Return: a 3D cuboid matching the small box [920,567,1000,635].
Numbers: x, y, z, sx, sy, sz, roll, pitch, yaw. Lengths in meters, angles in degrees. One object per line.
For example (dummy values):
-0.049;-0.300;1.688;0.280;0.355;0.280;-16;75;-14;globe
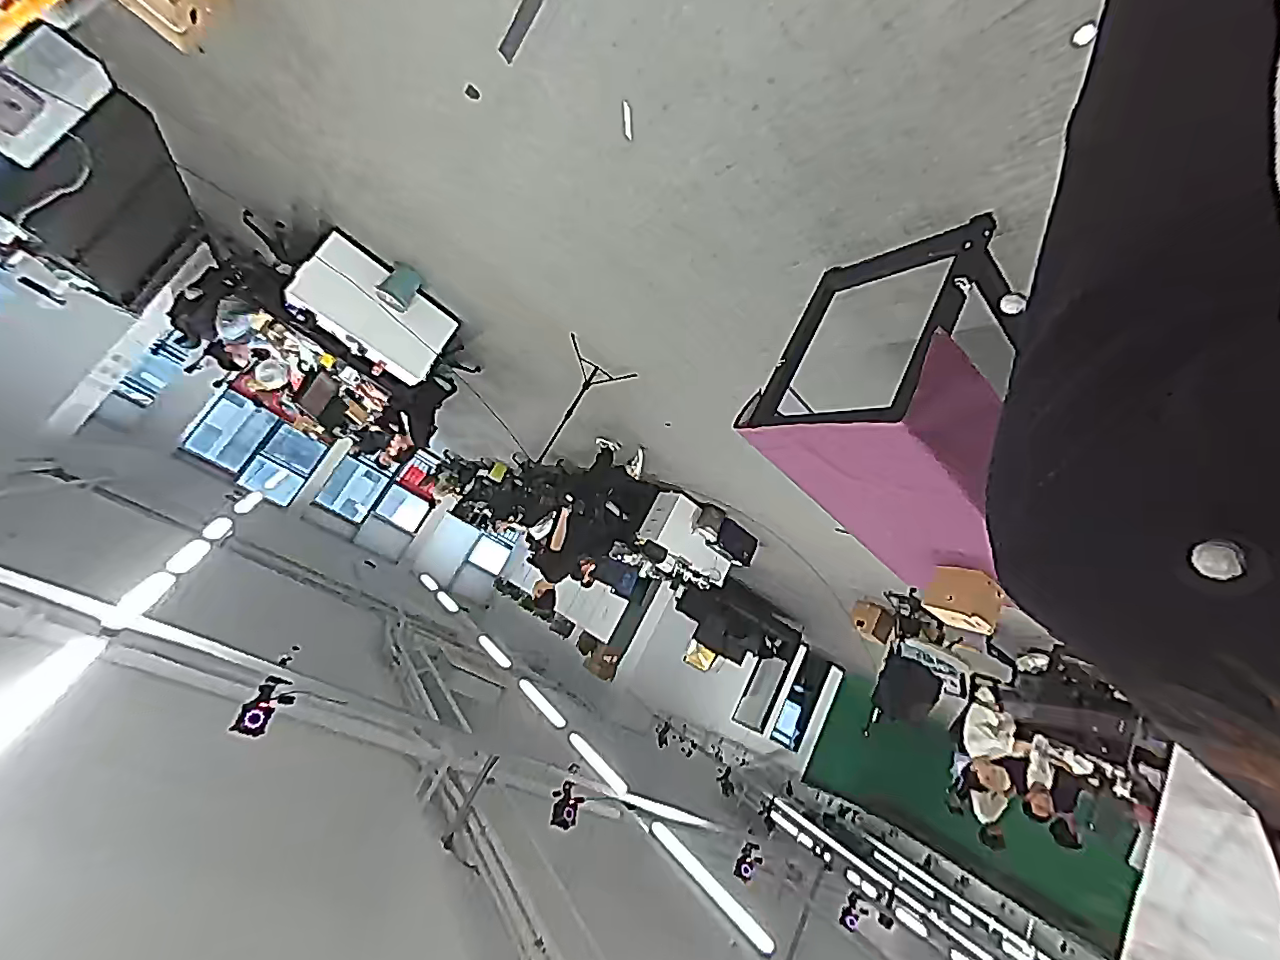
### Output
1.157;0.429;1.944;0.168;0.176;0.179;35;166;-20;small box
